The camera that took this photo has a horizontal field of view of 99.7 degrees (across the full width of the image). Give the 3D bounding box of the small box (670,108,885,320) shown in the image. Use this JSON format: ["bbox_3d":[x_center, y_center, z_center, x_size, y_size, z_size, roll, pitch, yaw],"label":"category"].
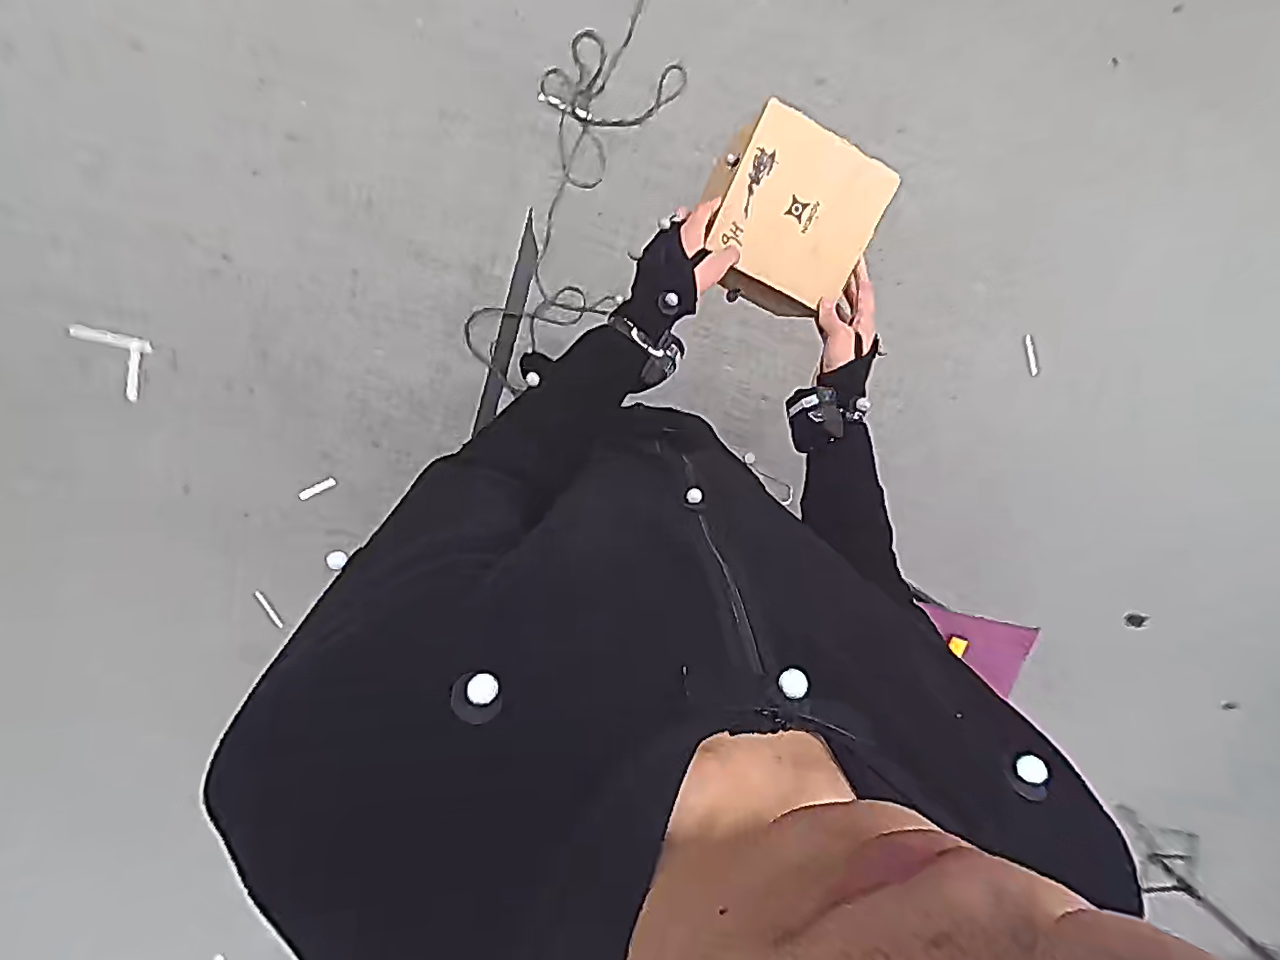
[{"bbox_3d":[0.159,-0.321,0.685,0.179,0.176,0.168,22,104,-14],"label":"small box"}]
